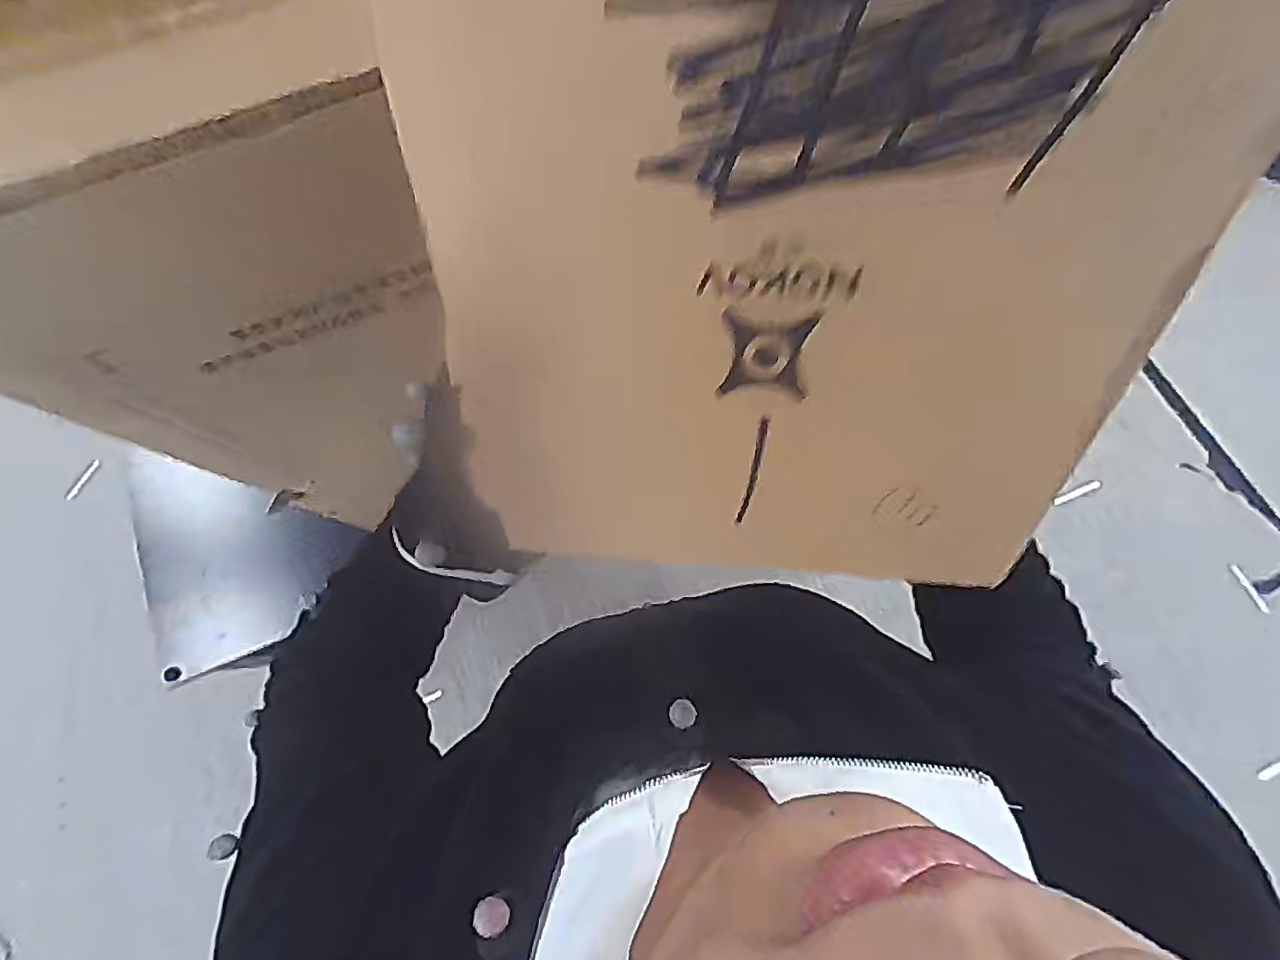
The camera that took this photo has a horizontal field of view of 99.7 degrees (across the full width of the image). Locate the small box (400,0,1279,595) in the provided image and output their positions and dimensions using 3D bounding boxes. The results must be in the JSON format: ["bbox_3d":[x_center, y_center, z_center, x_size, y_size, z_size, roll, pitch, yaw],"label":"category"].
[{"bbox_3d":[0.045,-0.086,0.193,0.168,0.179,0.176,5,39,6],"label":"small box"}]
